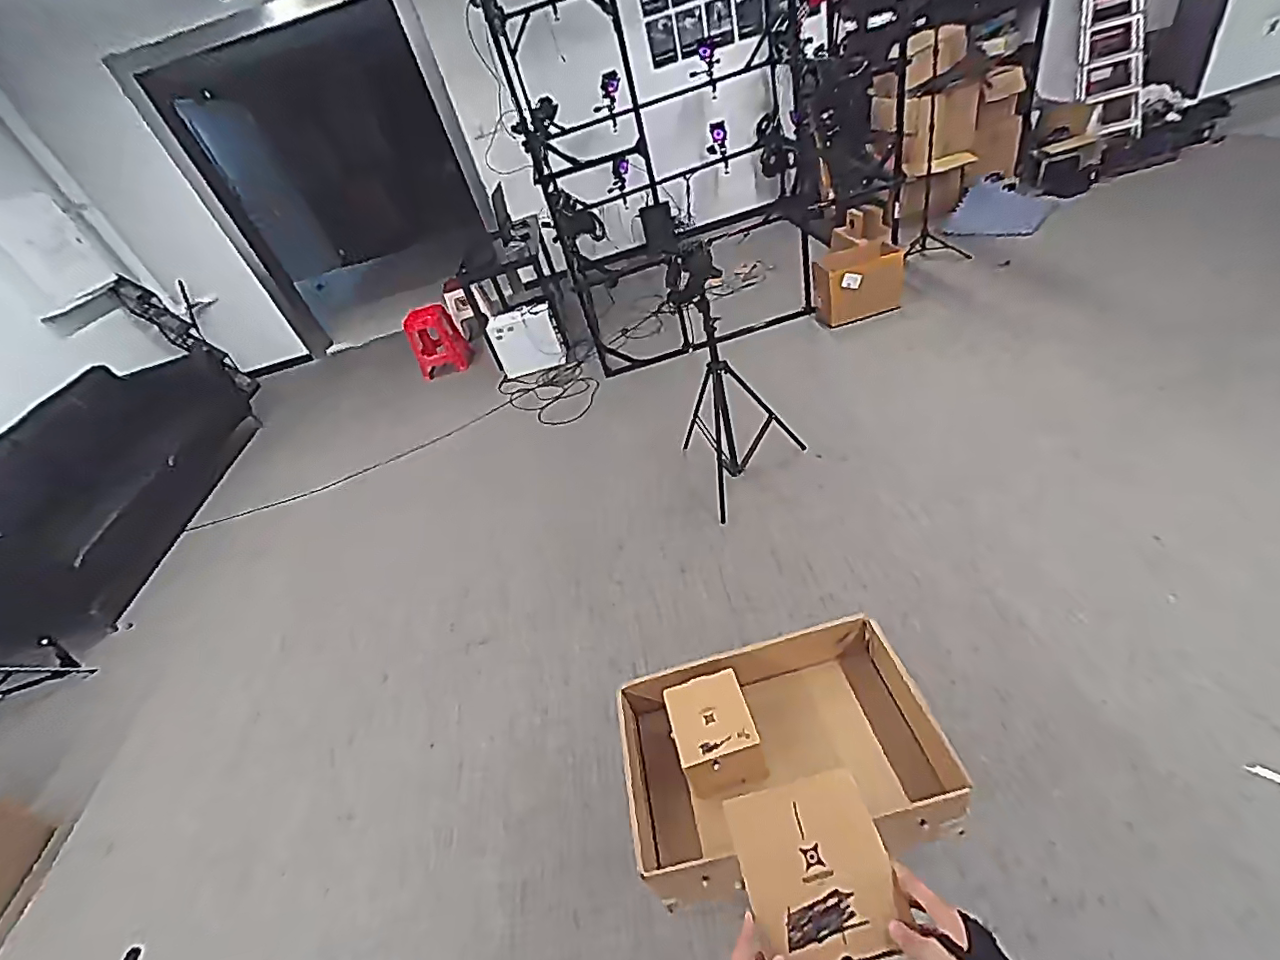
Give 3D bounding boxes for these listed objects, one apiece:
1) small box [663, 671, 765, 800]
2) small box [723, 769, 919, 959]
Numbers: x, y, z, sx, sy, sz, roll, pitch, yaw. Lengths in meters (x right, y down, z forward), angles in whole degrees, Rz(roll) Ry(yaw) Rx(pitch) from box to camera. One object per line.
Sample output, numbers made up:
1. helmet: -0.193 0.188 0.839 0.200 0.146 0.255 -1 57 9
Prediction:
1. small box: 0.161 0.558 1.184 0.168 0.176 0.179 -19 37 0
2. small box: 0.215 0.493 0.675 0.168 0.176 0.179 -17 47 1
